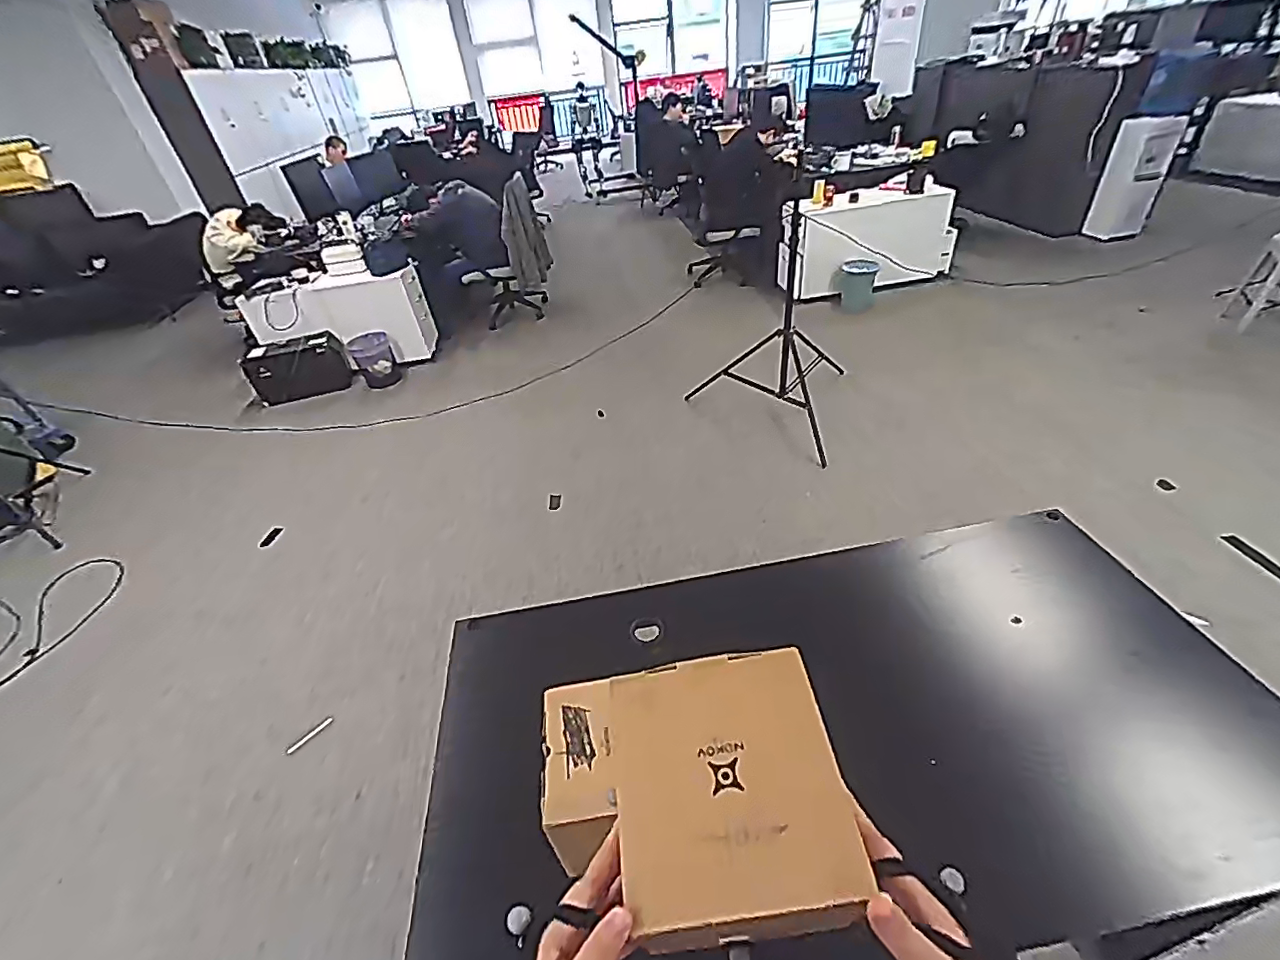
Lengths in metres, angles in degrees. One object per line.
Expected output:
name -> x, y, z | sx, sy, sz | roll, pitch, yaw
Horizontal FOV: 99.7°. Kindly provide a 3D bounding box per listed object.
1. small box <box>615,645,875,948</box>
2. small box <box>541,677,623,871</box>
small box -> 0.074, 0.270, 0.463 | 0.168, 0.176, 0.179 | -10, 45, 2
small box -> -0.023, 0.377, 0.702 | 0.179, 0.176, 0.168 | -9, 38, -3
